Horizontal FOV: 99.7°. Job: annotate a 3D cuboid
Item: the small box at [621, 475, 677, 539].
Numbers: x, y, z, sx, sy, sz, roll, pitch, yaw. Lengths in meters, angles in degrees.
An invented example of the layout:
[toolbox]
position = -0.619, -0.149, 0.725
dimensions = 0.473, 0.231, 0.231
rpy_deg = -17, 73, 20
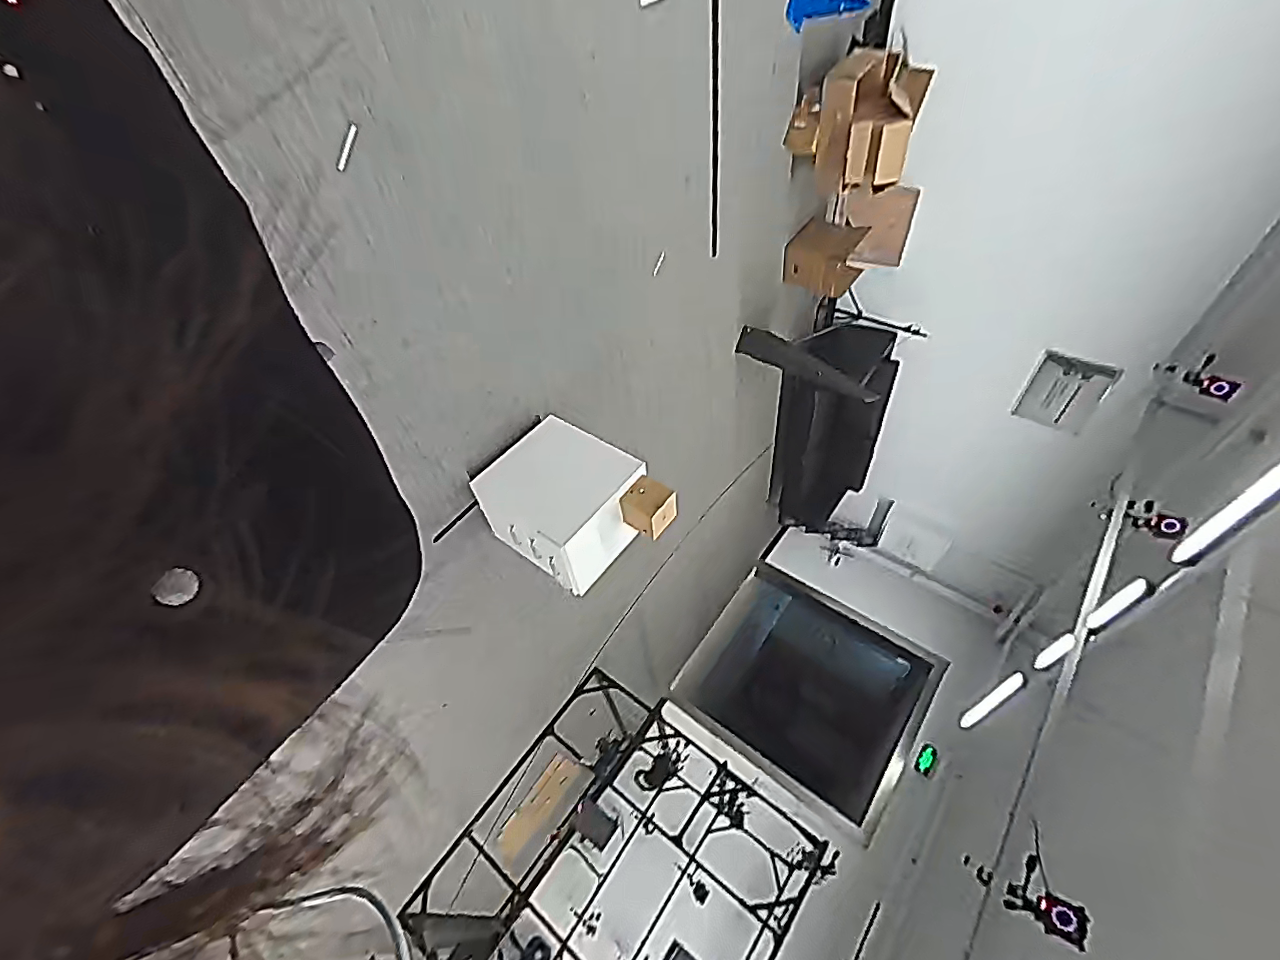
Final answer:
[small box]
position = 0.040, 0.108, 2.273
dimensions = 0.168, 0.176, 0.179
rpy_deg = -46, 150, -26
